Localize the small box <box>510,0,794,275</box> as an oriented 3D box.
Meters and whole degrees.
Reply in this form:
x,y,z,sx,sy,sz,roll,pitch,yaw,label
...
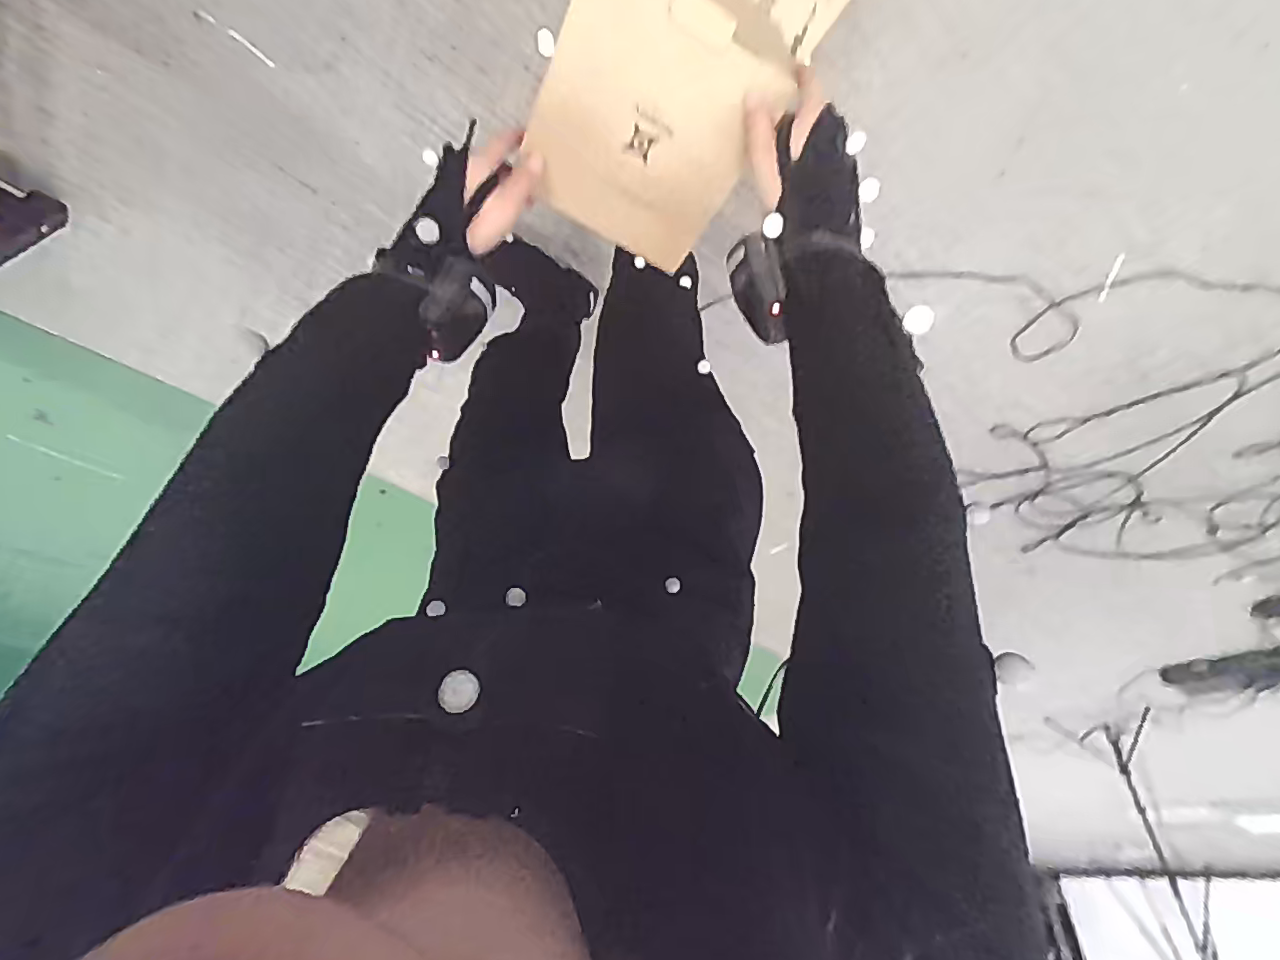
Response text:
x,y,z,sx,sy,sz,roll,pitch,yaw,label
0.006,-0.328,0.473,0.168,0.176,0.179,23,139,-20,small box
